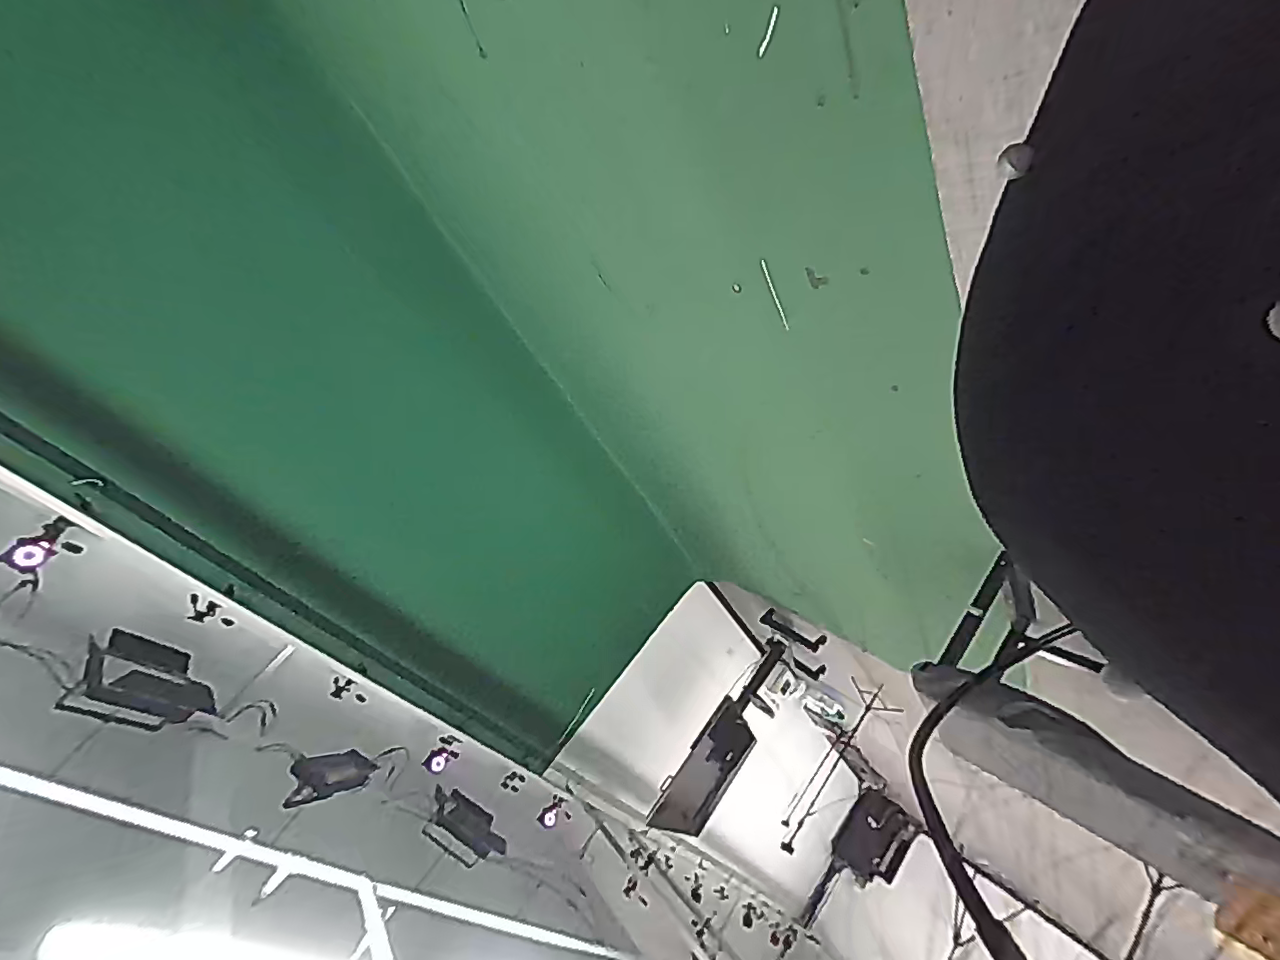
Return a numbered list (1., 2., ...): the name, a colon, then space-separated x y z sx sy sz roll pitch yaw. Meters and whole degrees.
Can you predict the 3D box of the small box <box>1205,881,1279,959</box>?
1. small box: 1.695 1.253 1.475 0.179 0.176 0.168 19 152 54
